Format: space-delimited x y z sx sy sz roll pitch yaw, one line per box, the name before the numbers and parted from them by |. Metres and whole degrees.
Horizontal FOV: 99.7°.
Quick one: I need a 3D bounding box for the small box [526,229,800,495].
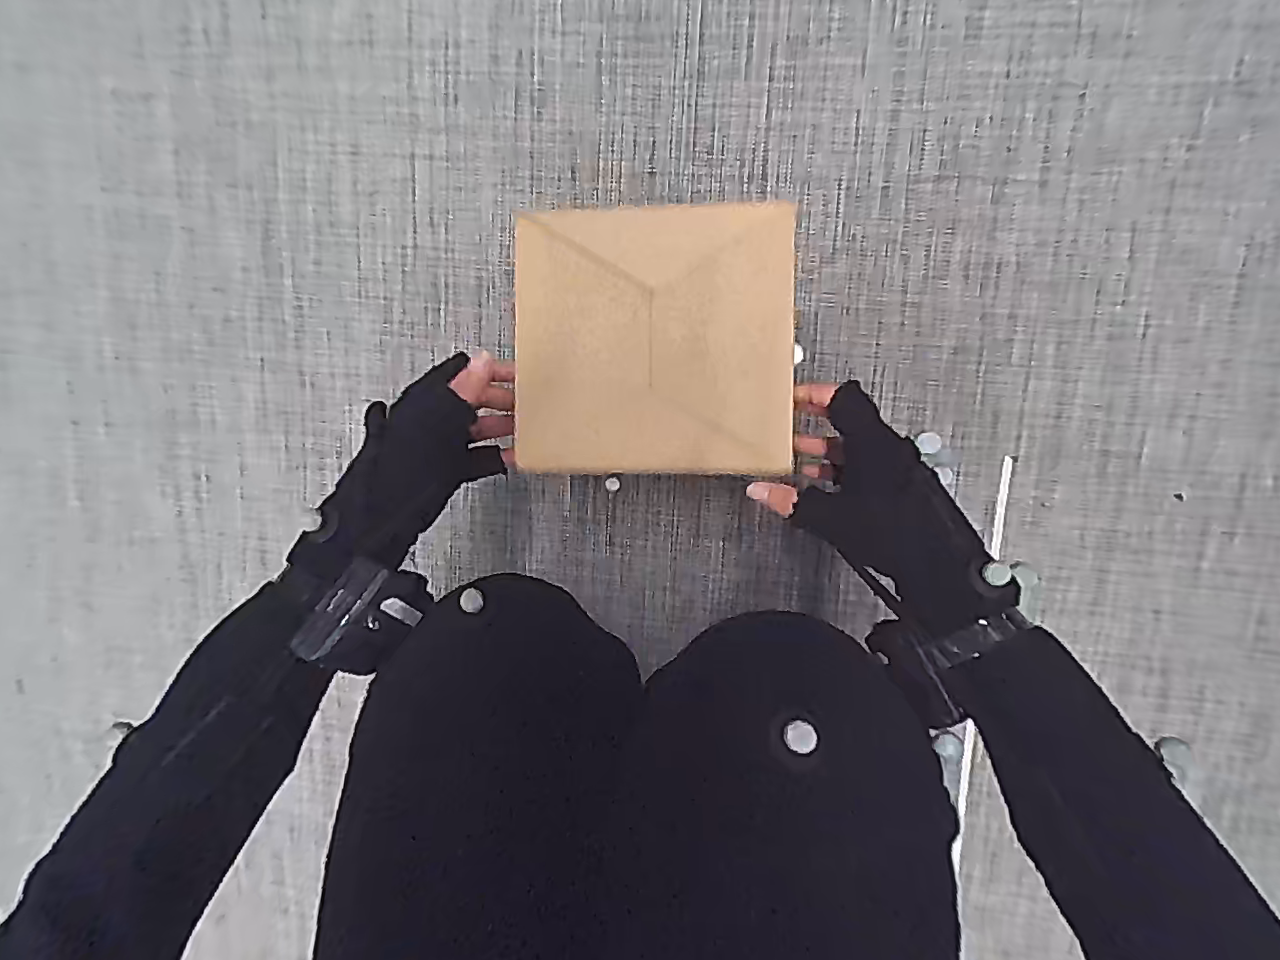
small box | 0.016 -0.081 0.420 0.179 0.176 0.168 0 96 4
